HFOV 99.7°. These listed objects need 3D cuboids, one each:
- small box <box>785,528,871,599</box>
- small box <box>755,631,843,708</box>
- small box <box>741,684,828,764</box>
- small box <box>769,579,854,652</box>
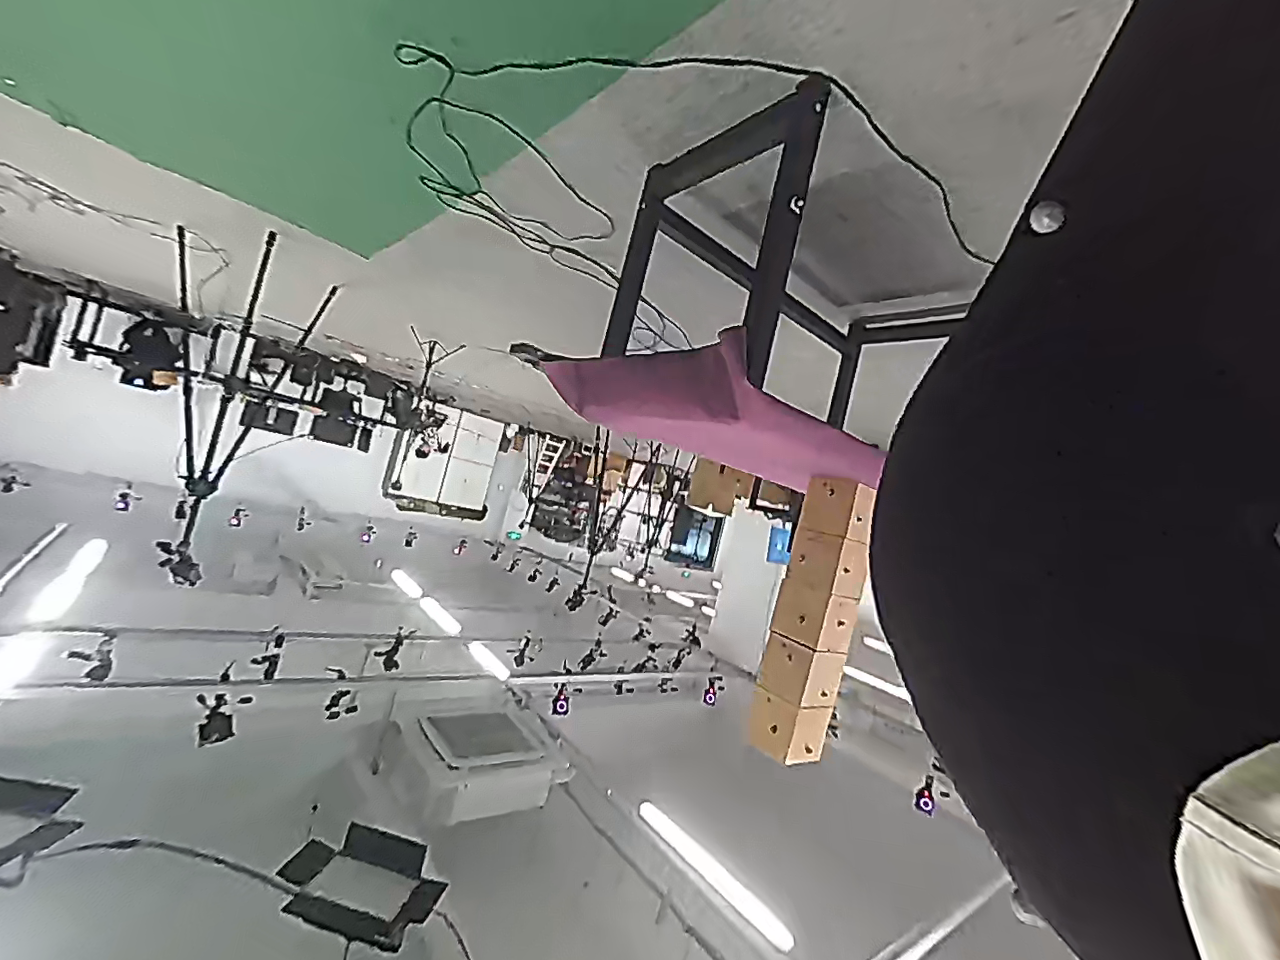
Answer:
[{"bbox_3d":[0.569,0.249,1.633,0.179,0.176,0.168,16,178,-38],"label":"small box"},{"bbox_3d":[0.481,0.564,1.622,0.179,0.176,0.168,18,177,-37],"label":"small box"},{"bbox_3d":[0.433,0.719,1.616,0.179,0.176,0.168,16,178,-37],"label":"small box"},{"bbox_3d":[0.523,0.405,1.632,0.168,0.176,0.179,17,176,-37],"label":"small box"}]
